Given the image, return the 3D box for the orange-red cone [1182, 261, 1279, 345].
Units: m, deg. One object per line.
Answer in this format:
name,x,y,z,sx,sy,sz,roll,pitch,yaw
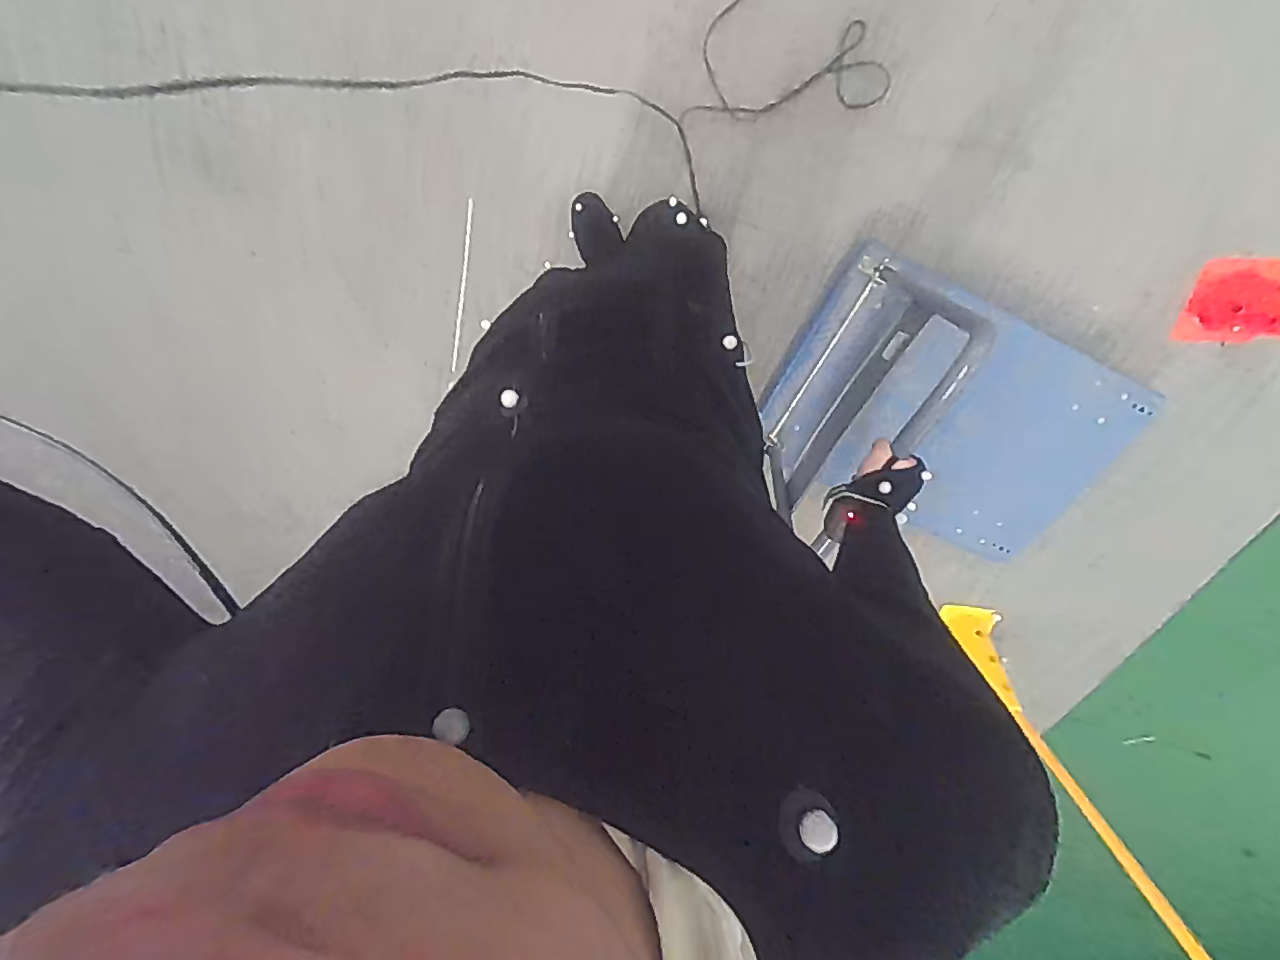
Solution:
orange-red cone,1.477,-0.358,1.196,0.198,0.360,0.199,4,118,3
